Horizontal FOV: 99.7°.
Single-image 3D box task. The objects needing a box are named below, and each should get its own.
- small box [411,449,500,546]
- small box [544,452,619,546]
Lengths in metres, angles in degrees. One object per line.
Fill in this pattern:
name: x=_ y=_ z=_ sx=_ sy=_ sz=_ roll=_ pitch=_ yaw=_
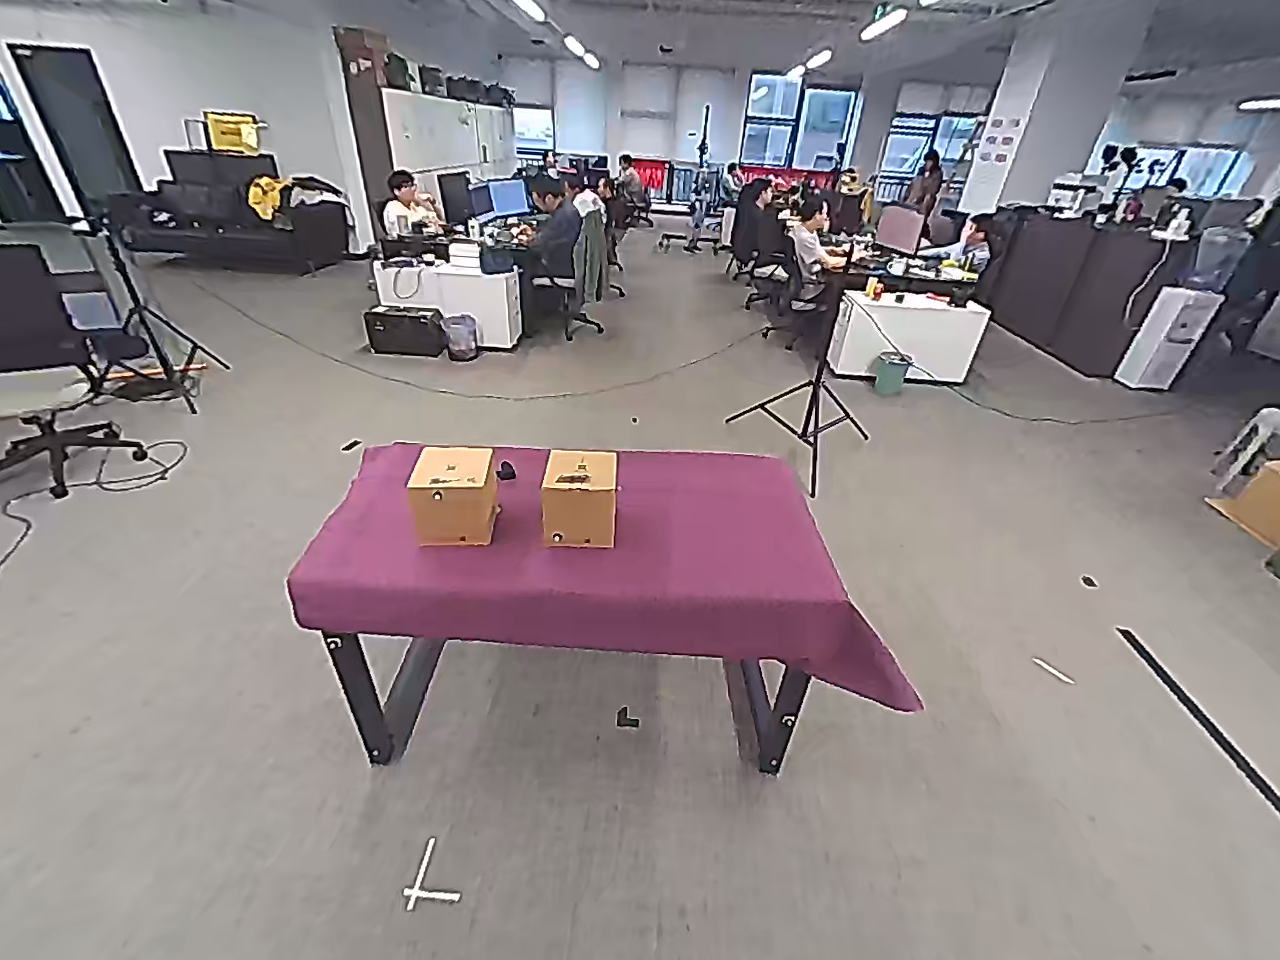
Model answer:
small box: x=-0.432 y=0.040 z=1.297 sx=0.168 sy=0.176 sz=0.179 roll=0 pitch=32 yaw=-7
small box: x=-0.138 y=0.047 z=1.319 sx=0.168 sy=0.176 sz=0.179 roll=3 pitch=31 yaw=-2
